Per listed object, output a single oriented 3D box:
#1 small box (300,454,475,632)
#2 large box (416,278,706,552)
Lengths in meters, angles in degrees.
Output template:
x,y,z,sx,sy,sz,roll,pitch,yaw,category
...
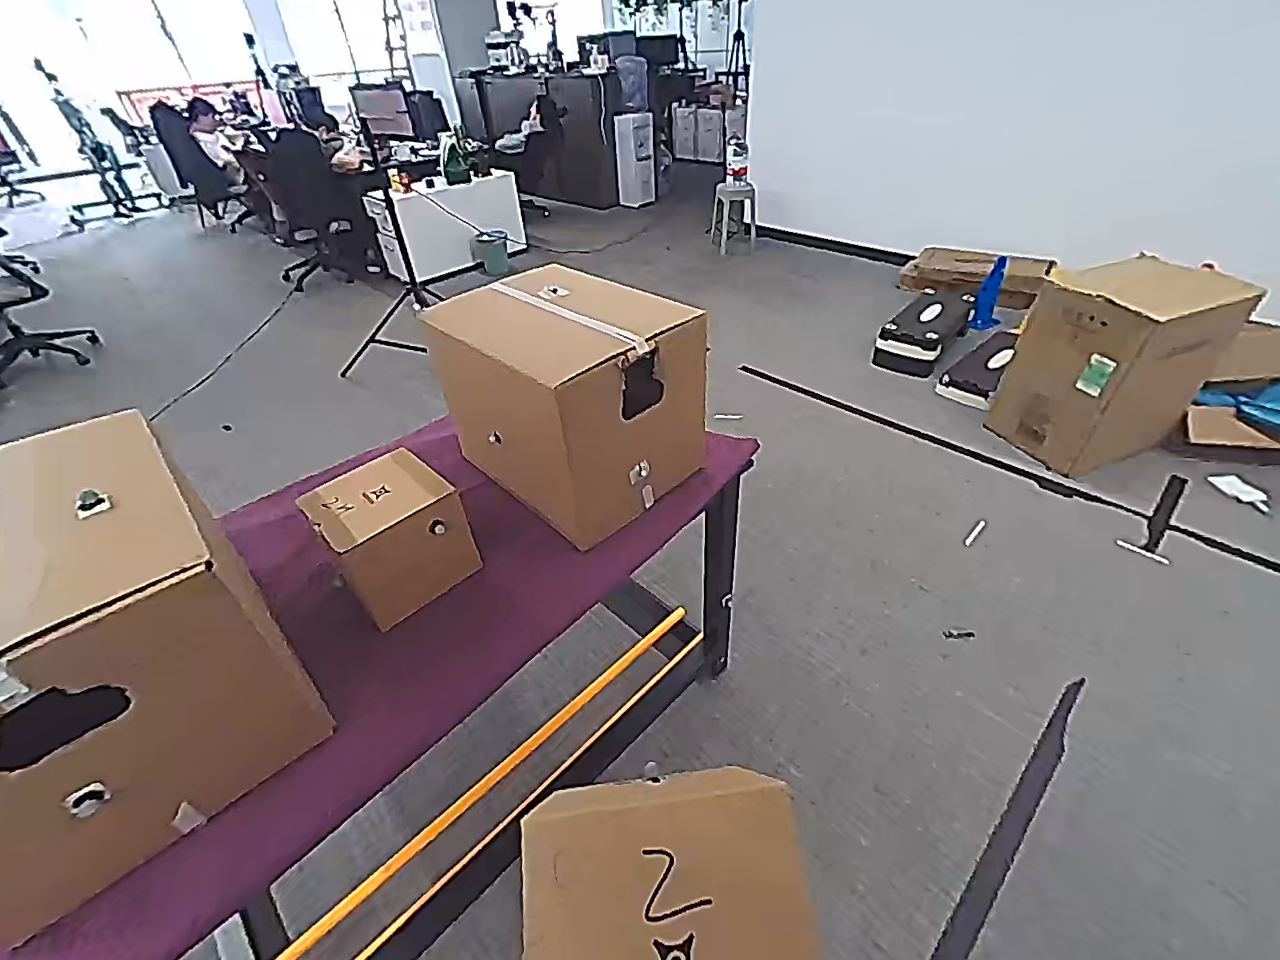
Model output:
x,y,z,sx,sy,sz,roll,pitch,yaw,category
-0.373,0.092,0.829,0.168,0.176,0.179,30,49,36,small box
-0.128,-0.138,0.986,0.320,0.320,0.408,-34,46,-32,large box
